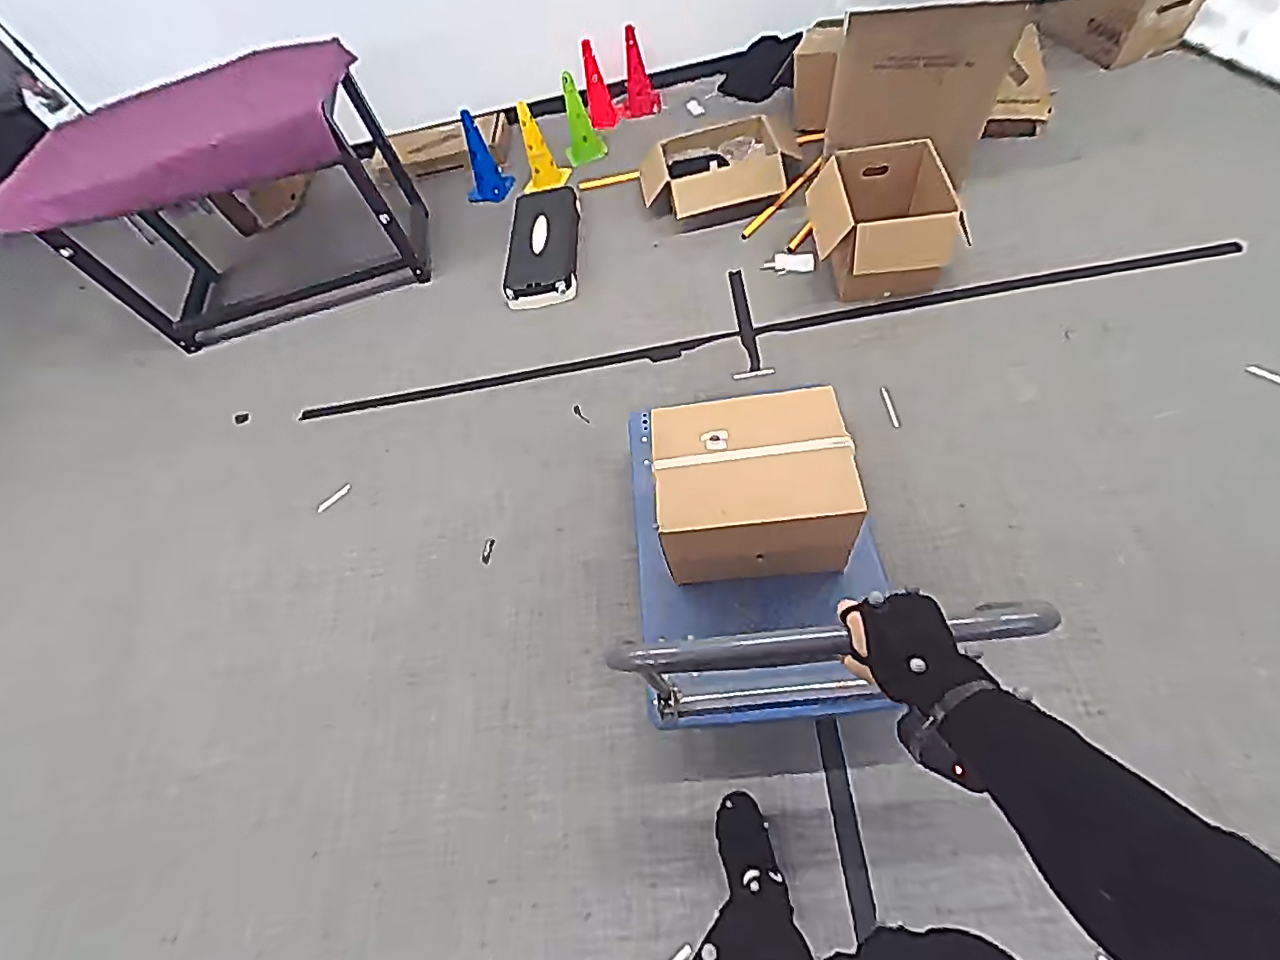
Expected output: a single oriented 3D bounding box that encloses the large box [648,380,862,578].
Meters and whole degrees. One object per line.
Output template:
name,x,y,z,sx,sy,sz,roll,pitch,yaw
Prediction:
large box,0.249,0.014,1.247,0.408,0.320,0.320,-8,58,8
